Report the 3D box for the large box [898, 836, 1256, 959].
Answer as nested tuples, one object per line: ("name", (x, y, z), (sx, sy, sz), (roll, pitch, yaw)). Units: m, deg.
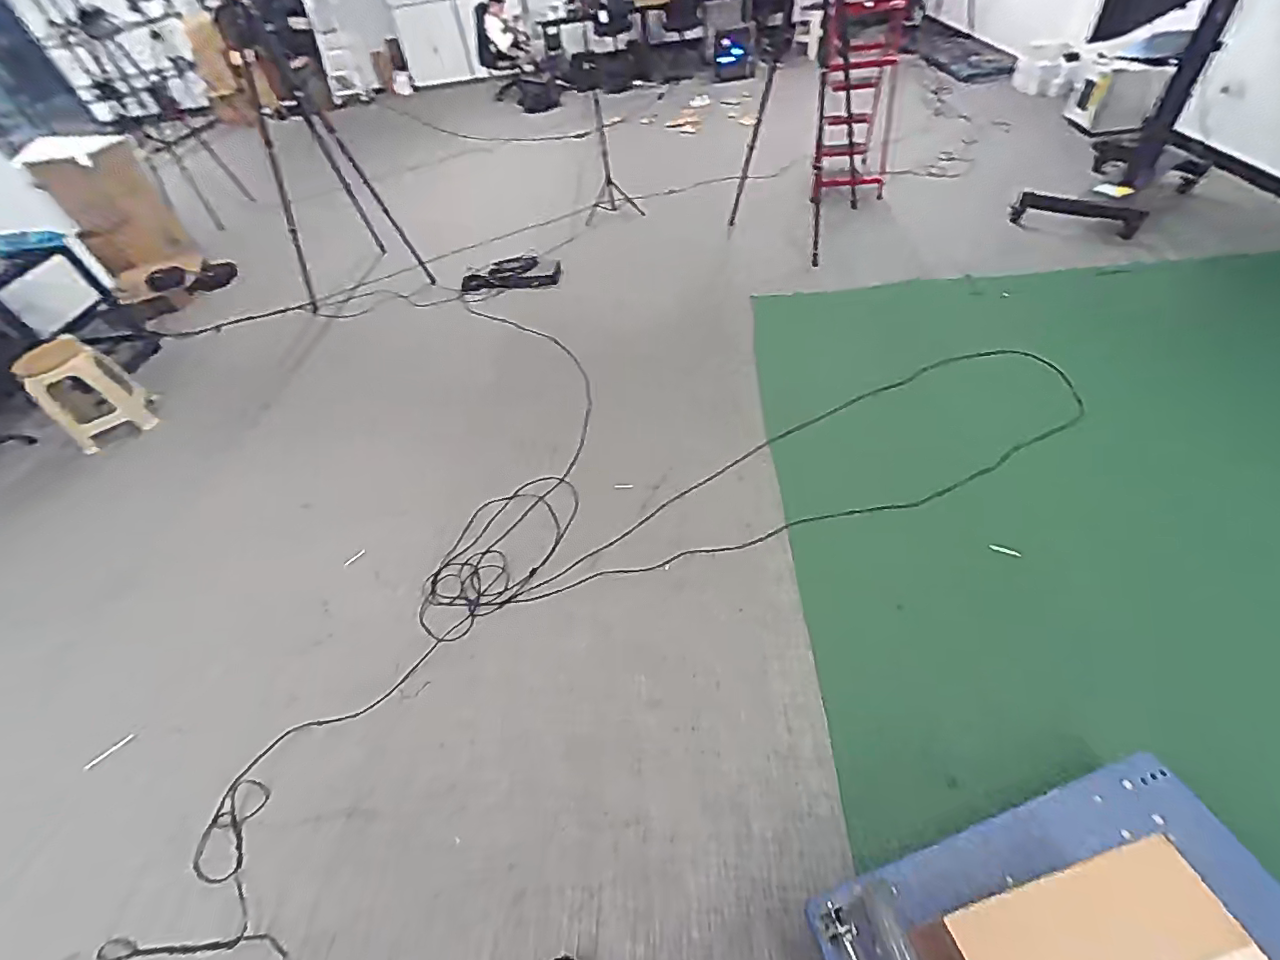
("large box", (0.709, 0.842, 0.865), (0.408, 0.320, 0.320), (-15, 47, -6))
